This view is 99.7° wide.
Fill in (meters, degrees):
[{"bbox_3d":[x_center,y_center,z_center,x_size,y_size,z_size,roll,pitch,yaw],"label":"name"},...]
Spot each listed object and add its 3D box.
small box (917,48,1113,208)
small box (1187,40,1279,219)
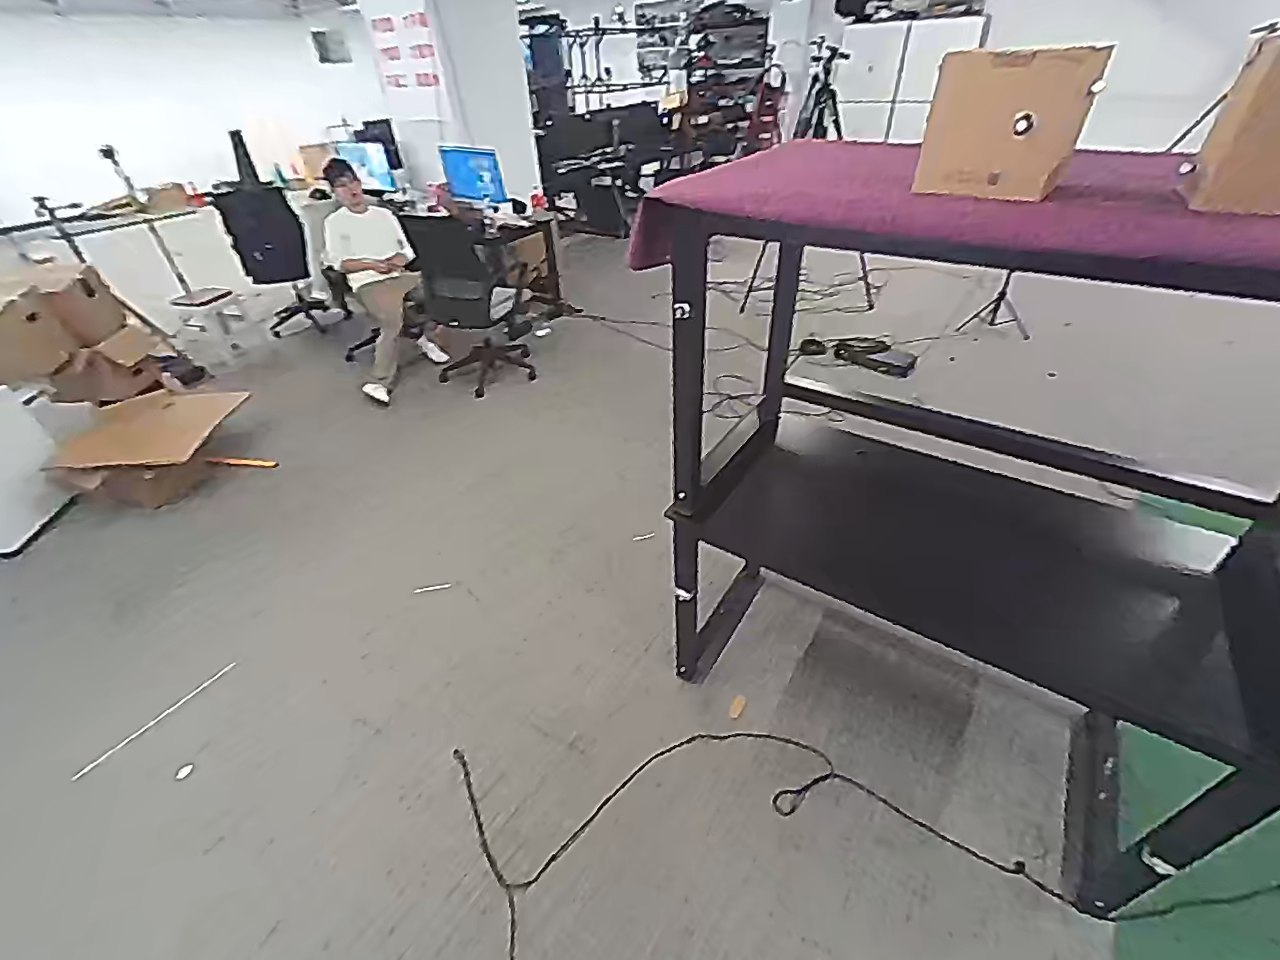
[{"bbox_3d":[0.514,-0.492,0.760,0.168,0.176,0.179,27,46,32],"label":"small box"},{"bbox_3d":[0.770,-0.394,0.610,0.179,0.176,0.168,21,43,28],"label":"small box"}]
